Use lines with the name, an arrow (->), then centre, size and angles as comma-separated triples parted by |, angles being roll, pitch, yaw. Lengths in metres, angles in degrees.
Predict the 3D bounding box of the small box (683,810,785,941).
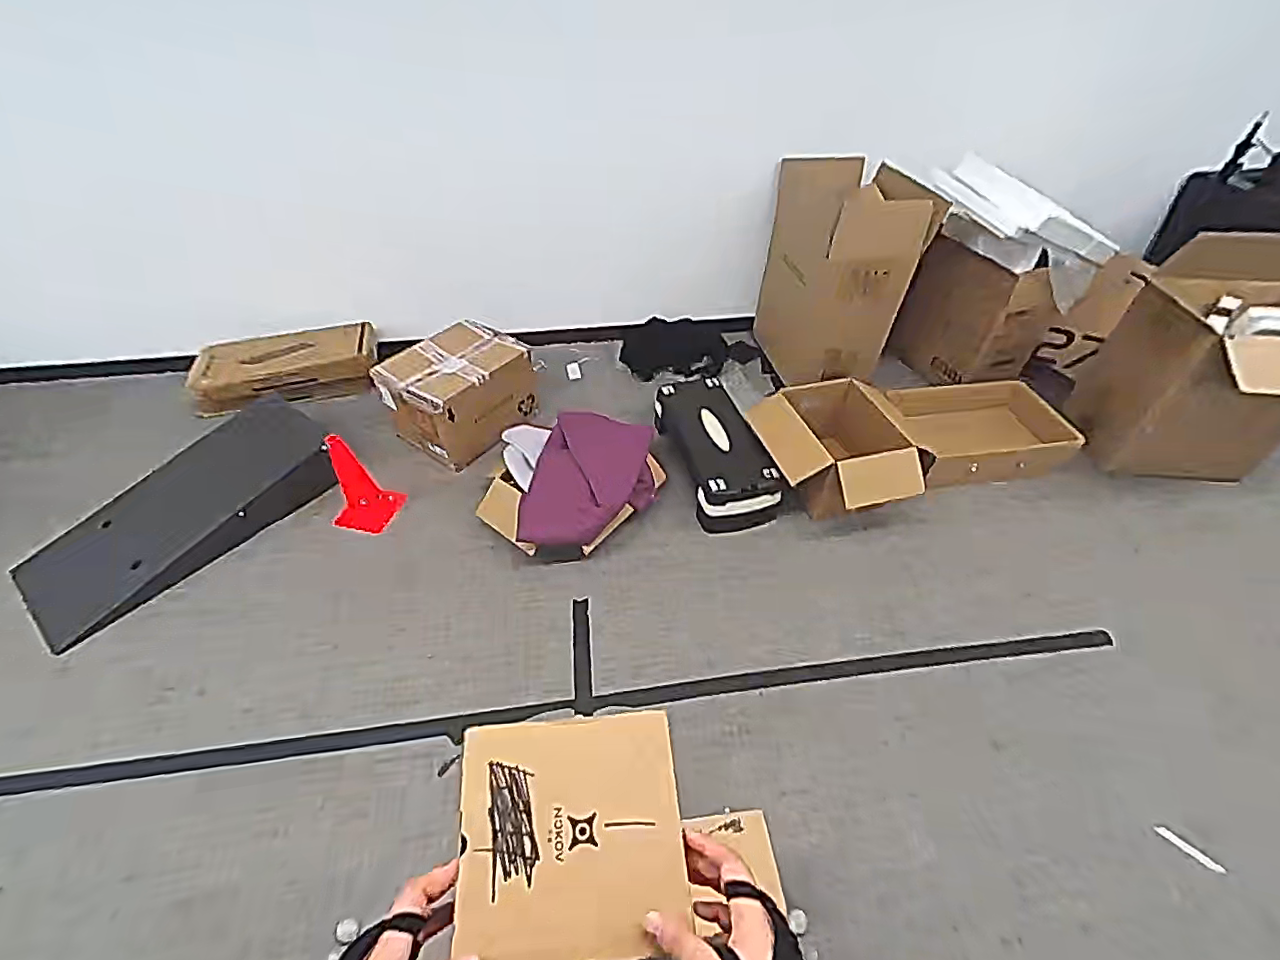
small box -> 0.163, 0.759, 1.034 | 0.168, 0.176, 0.179 | -5, 46, -5

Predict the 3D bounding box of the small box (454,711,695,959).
small box -> -0.056, 0.320, 0.496 | 0.179, 0.176, 0.168 | -2, 57, -7
